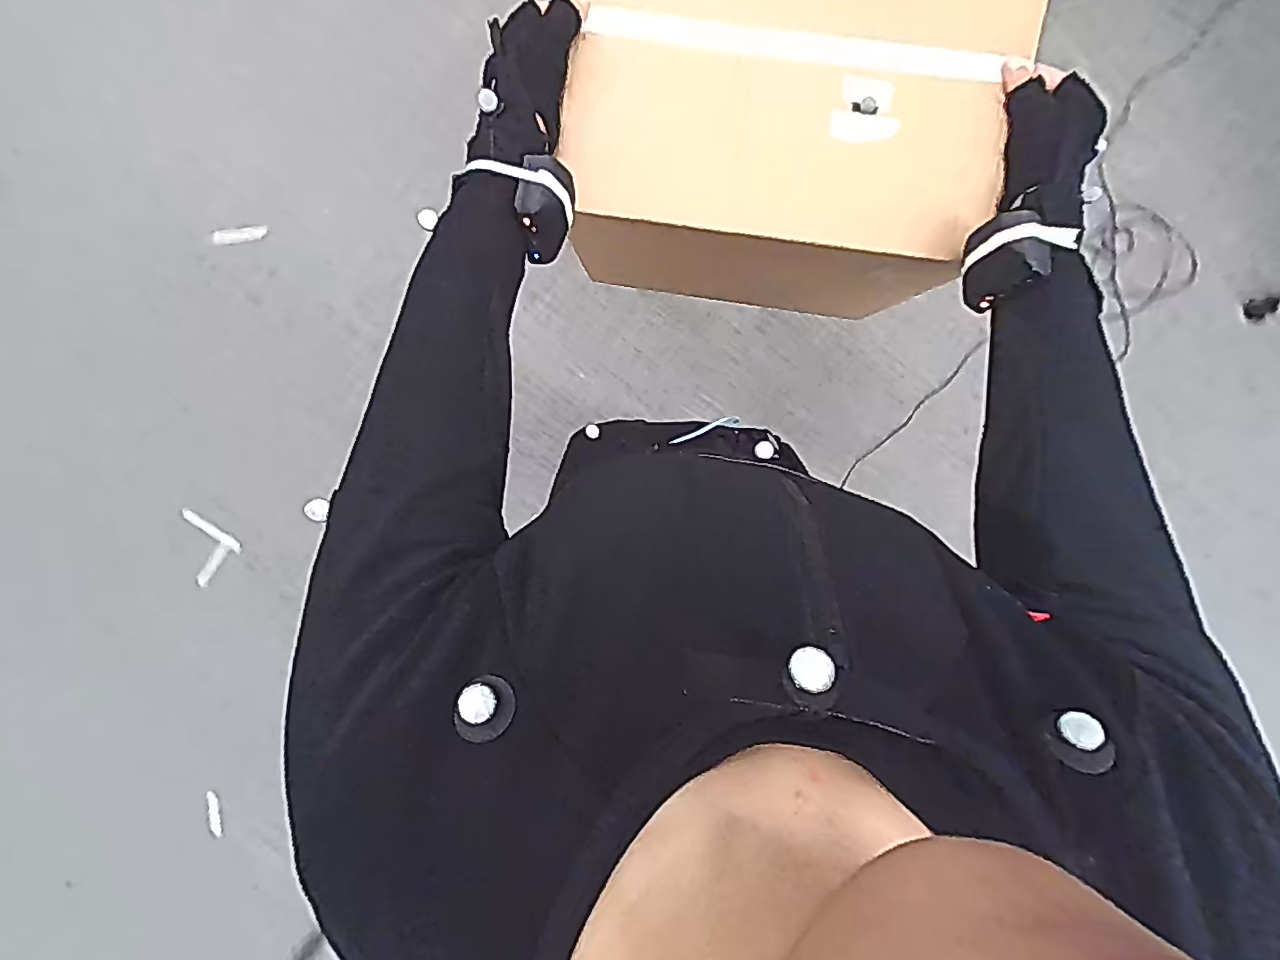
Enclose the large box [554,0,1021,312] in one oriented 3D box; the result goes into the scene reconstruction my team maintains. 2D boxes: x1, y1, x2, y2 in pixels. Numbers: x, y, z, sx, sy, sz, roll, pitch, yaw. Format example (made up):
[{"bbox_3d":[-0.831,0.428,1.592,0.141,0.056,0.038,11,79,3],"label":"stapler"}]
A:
[{"bbox_3d":[0.131,-0.397,0.632,0.408,0.320,0.320,7,99,0],"label":"large box"}]
